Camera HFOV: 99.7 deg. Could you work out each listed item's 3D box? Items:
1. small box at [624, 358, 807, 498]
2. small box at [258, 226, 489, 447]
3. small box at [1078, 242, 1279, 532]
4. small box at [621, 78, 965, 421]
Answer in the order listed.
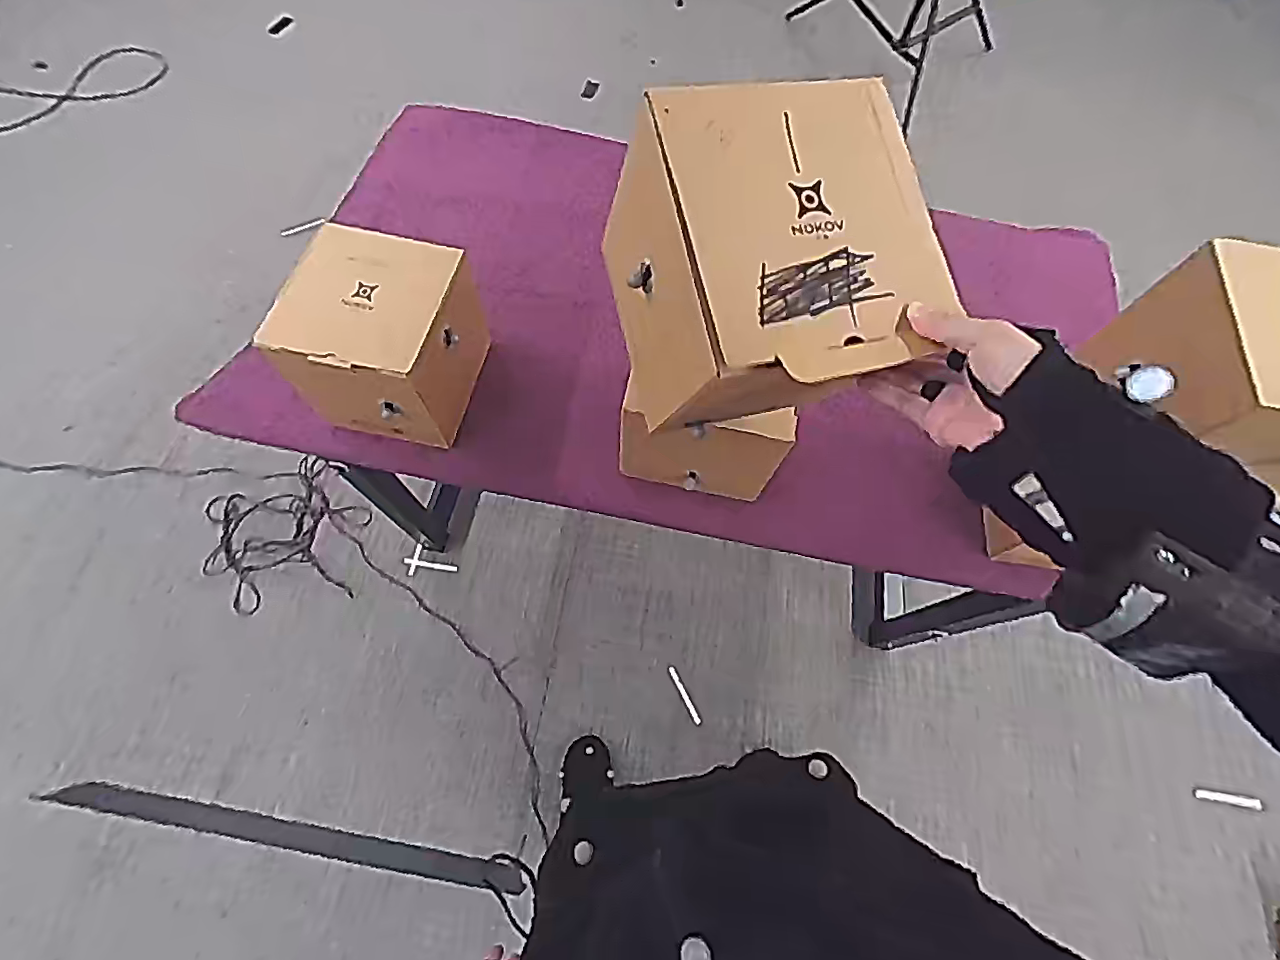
[{"bbox_3d":[0.084,-0.090,0.633,0.179,0.176,0.168,12,67,1],"label":"small box"},{"bbox_3d":[-0.292,-0.160,0.642,0.168,0.176,0.179,12,65,0],"label":"small box"},{"bbox_3d":[0.524,-0.068,0.468,0.179,0.176,0.168,13,66,3],"label":"small box"},{"bbox_3d":[0.091,-0.149,0.401,0.168,0.176,0.179,-11,85,-13],"label":"small box"}]
